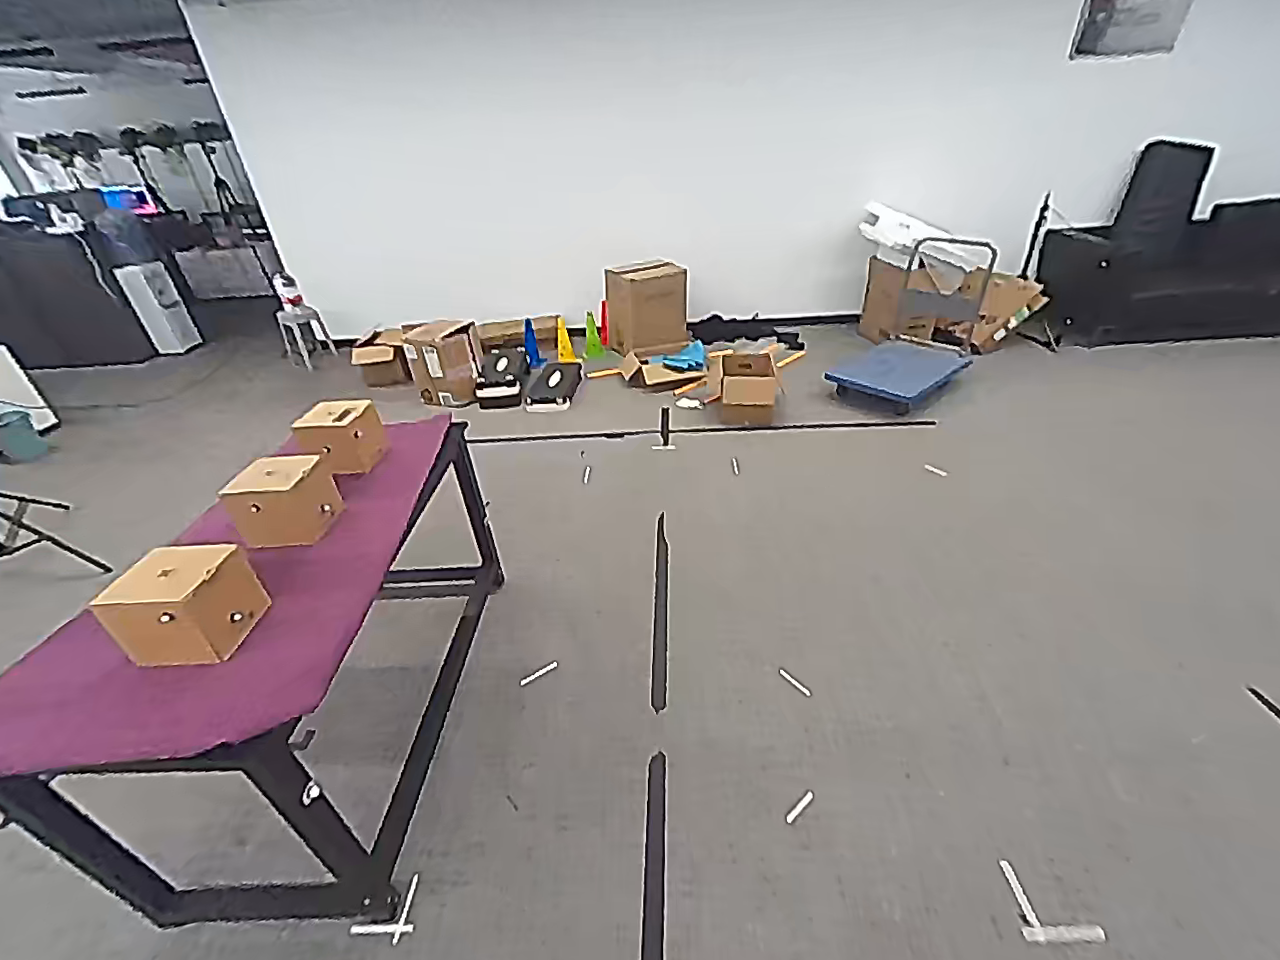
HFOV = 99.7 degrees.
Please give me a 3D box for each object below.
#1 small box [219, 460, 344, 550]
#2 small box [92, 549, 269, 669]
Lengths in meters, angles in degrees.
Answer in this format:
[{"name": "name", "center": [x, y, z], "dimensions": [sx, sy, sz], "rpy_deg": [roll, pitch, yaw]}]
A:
[{"name": "small box", "center": [-0.896, 0.065, 1.371], "dimensions": [0.179, 0.176, 0.168], "rpy_deg": [-3, 33, 2]}, {"name": "small box", "center": [-0.893, 0.256, 1.073], "dimensions": [0.179, 0.176, 0.168], "rpy_deg": [-3, 32, 1]}]
